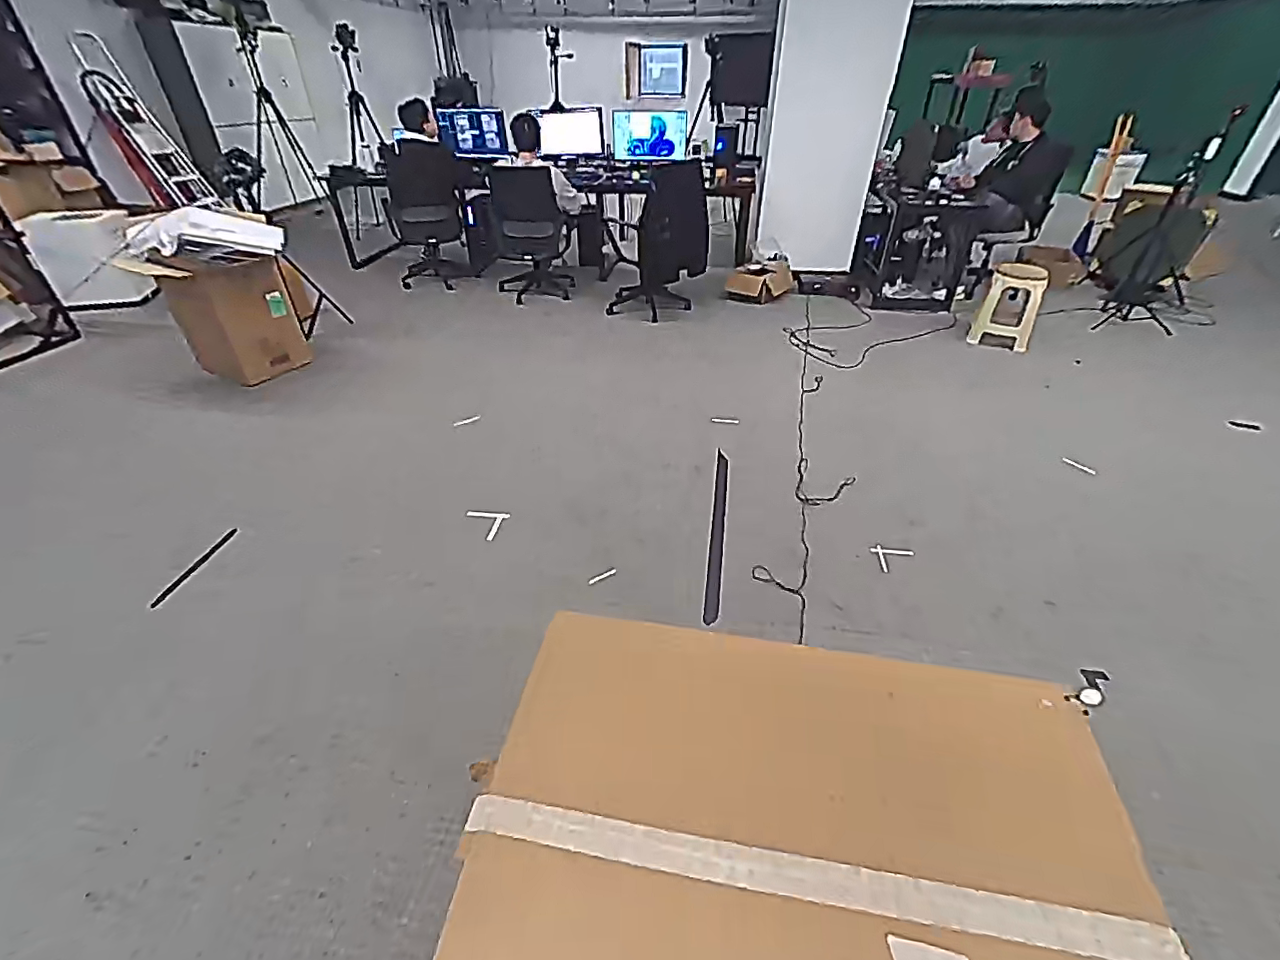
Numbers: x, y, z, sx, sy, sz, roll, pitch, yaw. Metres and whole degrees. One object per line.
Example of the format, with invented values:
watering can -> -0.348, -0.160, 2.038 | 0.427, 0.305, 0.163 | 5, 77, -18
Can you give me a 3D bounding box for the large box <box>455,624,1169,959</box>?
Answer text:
large box -> 0.101, 0.353, 0.432 | 0.408, 0.320, 0.320 | 6, 44, 7
